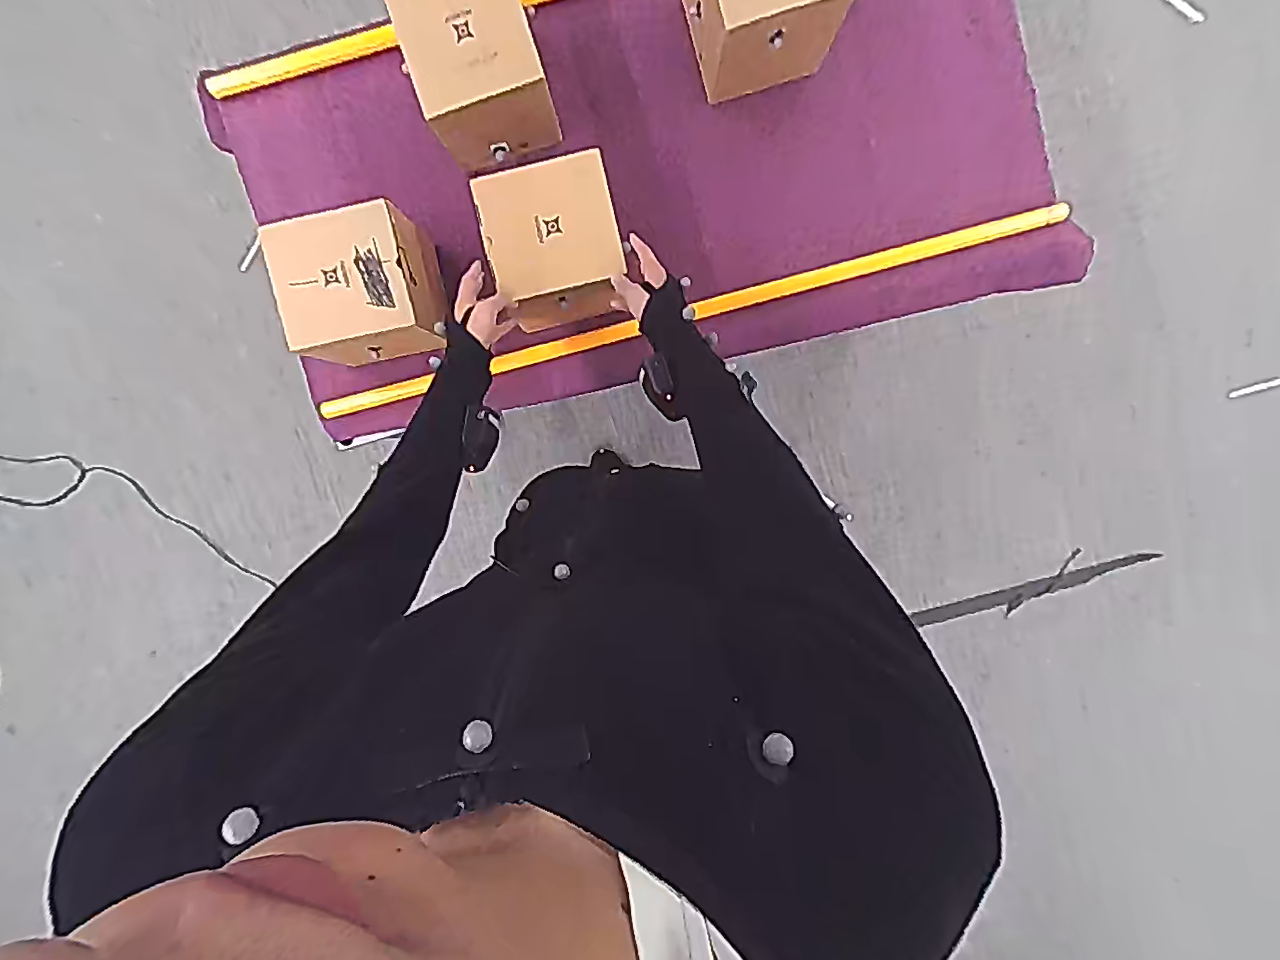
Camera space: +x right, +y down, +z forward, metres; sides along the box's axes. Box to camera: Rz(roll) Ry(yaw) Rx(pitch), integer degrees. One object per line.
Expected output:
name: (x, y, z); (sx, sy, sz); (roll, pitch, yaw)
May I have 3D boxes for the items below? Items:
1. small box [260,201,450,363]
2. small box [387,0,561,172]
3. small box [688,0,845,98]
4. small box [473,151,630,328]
small box: (-0.392, -0.273, 0.783); (0.179, 0.176, 0.168); (-12, 95, 1)
small box: (-0.222, -0.577, 0.758); (0.168, 0.176, 0.179); (-18, 96, 3)
small box: (0.167, -0.673, 0.746); (0.179, 0.176, 0.168); (-16, 96, 2)
small box: (-0.115, -0.332, 0.780); (0.179, 0.176, 0.168); (-13, 93, 2)
